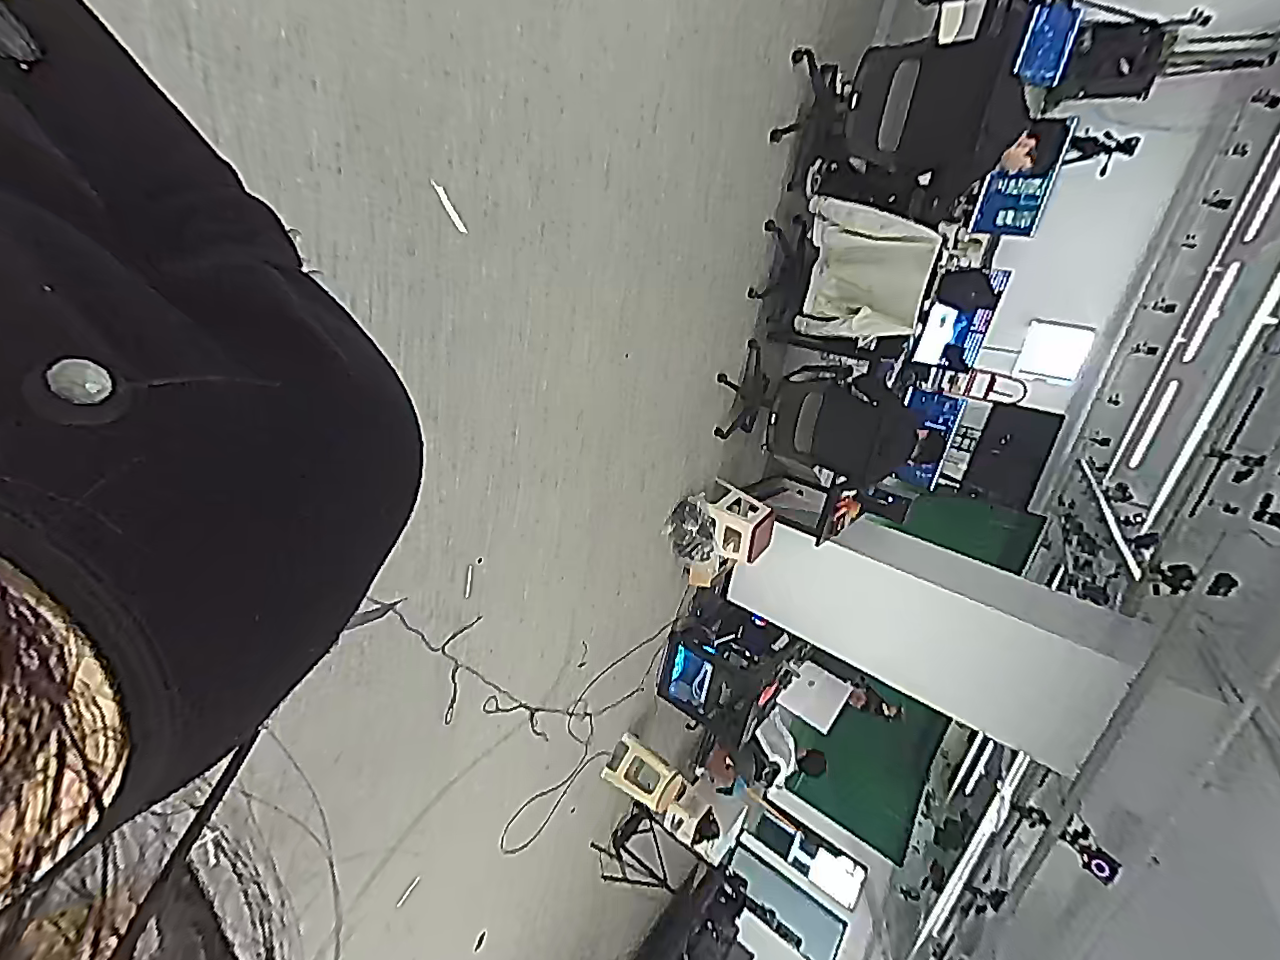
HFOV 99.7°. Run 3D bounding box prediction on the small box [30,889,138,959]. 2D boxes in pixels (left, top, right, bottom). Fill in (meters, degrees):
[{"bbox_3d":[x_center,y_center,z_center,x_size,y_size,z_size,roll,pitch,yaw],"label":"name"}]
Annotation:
[{"bbox_3d":[-1.404,1.202,1.369,0.168,0.176,0.179,-12,120,-54],"label":"small box"}]
